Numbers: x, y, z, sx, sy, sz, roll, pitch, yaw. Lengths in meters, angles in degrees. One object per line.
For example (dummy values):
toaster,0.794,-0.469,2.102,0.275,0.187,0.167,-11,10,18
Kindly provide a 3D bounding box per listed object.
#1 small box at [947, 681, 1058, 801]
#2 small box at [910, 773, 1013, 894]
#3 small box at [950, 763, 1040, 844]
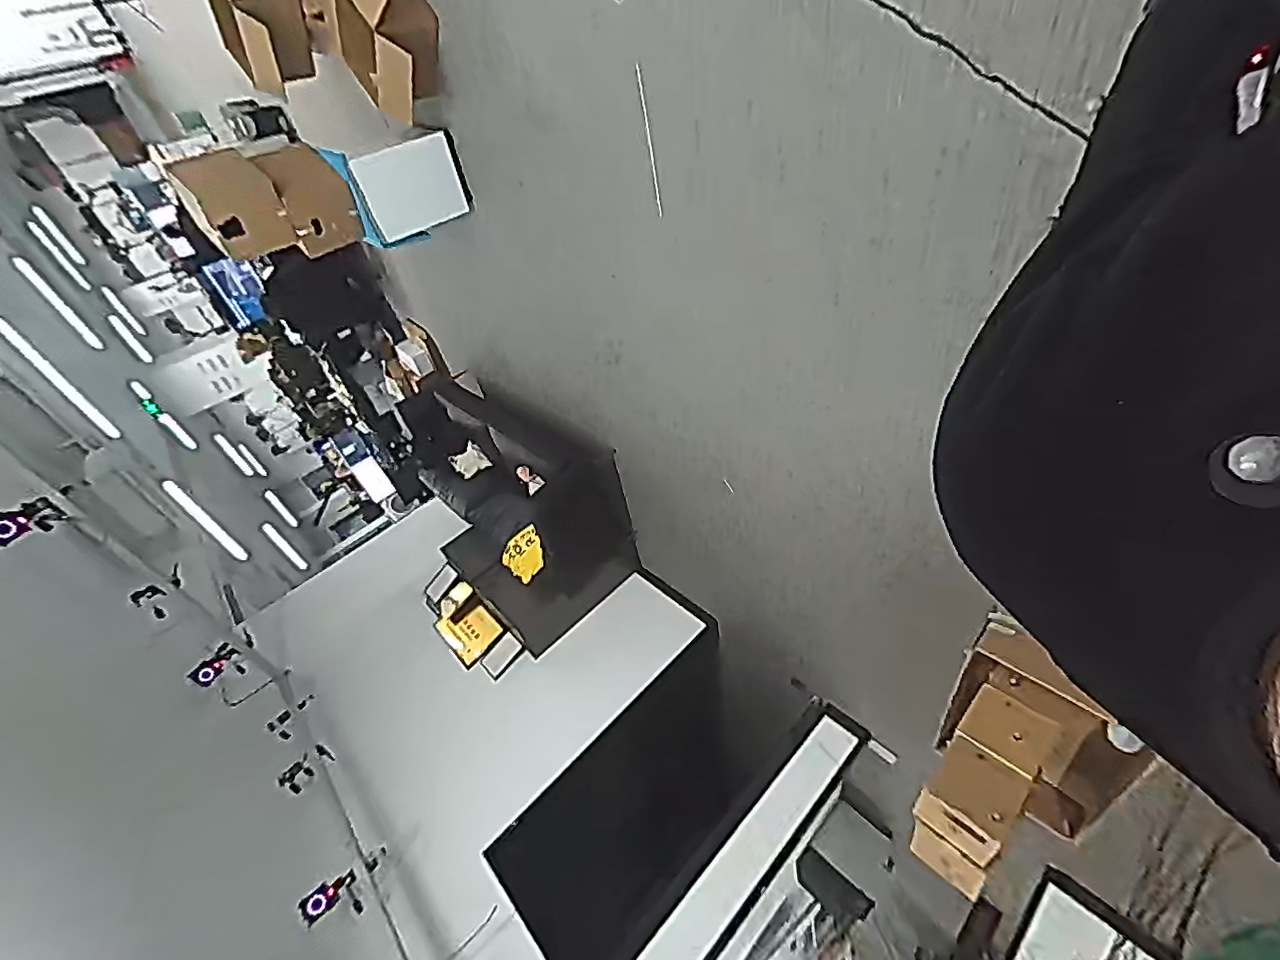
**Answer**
small box,0.891,0.635,1.331,0.168,0.176,0.179,28,145,41
small box,0.829,0.903,1.393,0.168,0.176,0.179,28,142,42
small box,0.952,0.822,1.464,0.168,0.176,0.179,25,141,43
